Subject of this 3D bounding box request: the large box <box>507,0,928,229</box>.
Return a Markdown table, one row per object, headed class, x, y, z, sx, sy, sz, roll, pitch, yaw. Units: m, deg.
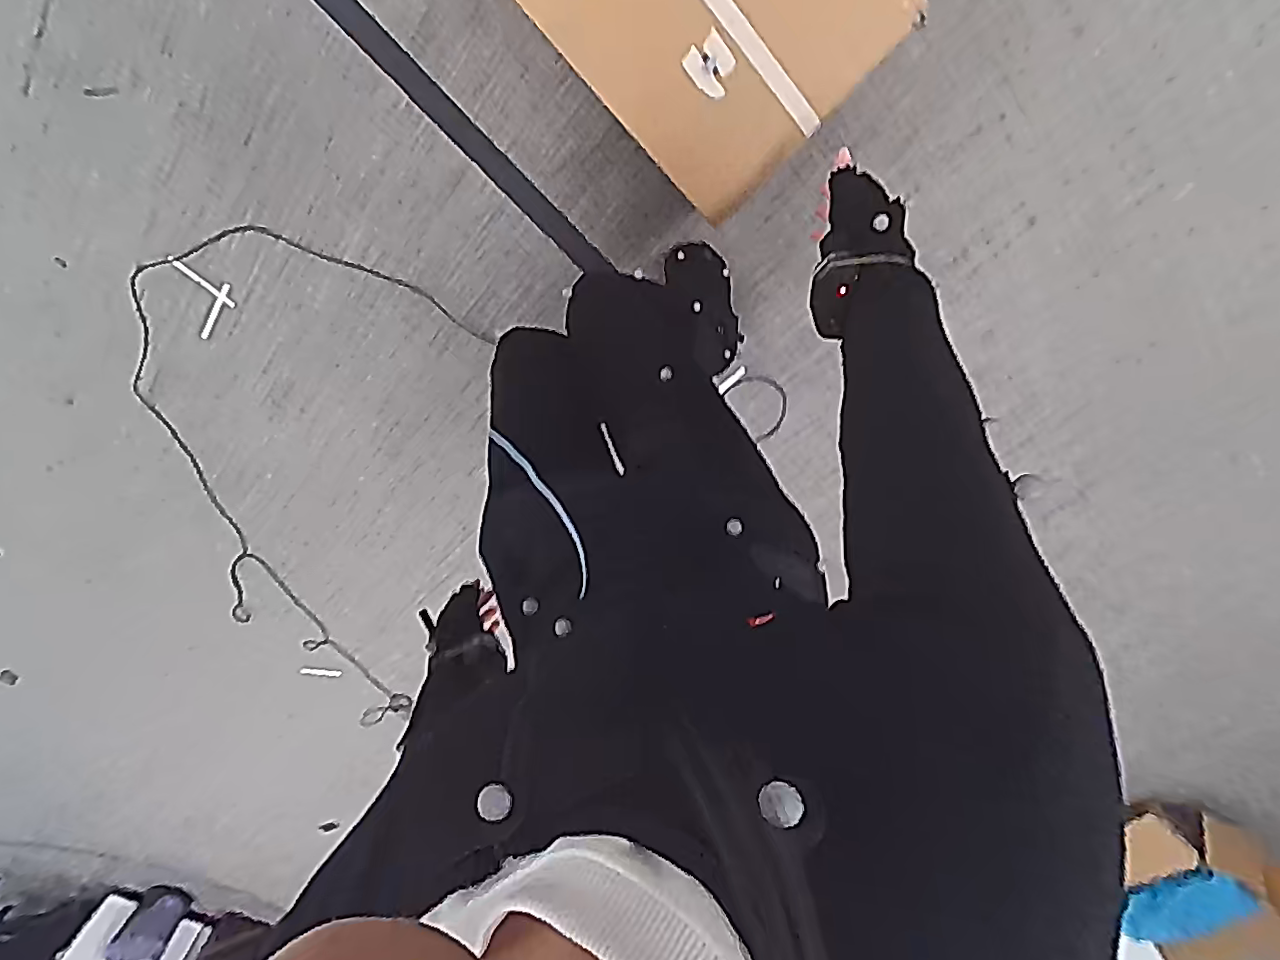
| class | x | y | z | sx | sy | sz | roll | pitch | yaw |
| --- | --- | --- | --- | --- | --- | --- | --- | --- | --- |
| large box | 0.078 | -0.620 | 0.718 | 0.408 | 0.320 | 0.320 | 40 | 118 | -20 |
